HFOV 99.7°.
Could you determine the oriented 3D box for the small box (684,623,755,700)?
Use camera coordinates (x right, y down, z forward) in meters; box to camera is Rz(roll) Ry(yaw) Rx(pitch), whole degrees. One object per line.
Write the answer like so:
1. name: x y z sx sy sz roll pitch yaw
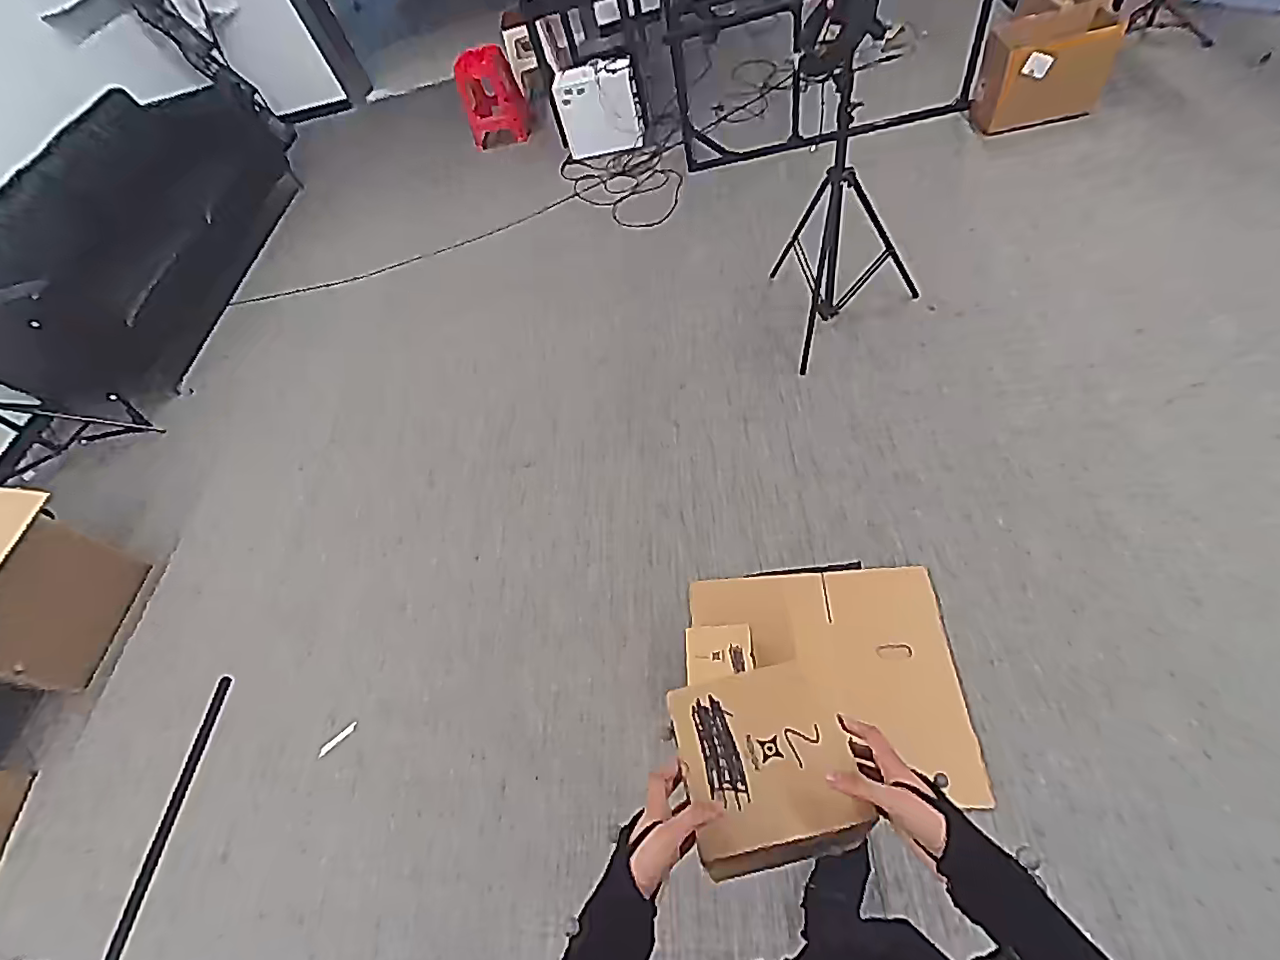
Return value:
1. small box: 0.219 0.497 1.475 0.179 0.176 0.168 -7 56 12
